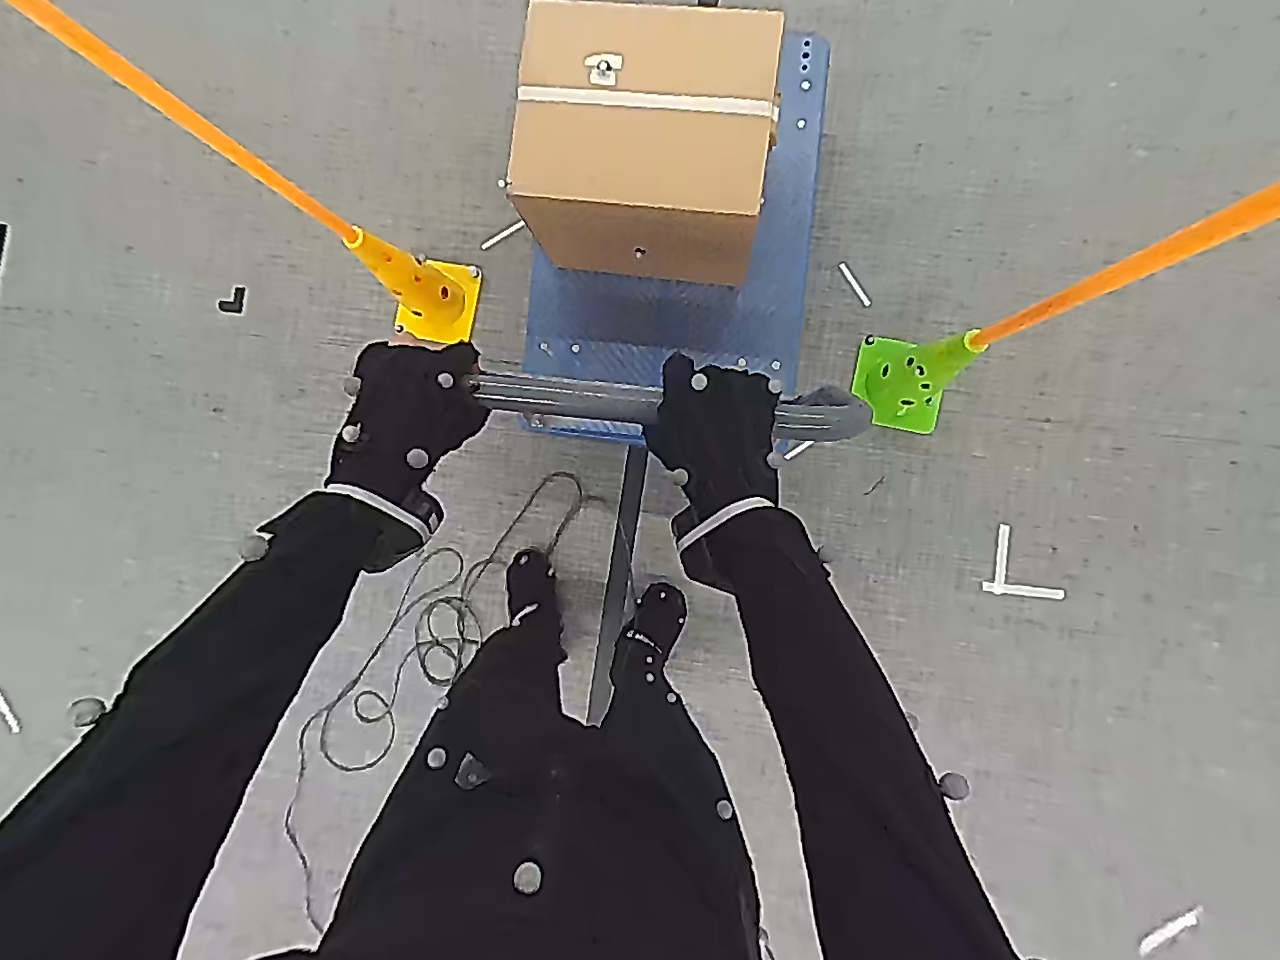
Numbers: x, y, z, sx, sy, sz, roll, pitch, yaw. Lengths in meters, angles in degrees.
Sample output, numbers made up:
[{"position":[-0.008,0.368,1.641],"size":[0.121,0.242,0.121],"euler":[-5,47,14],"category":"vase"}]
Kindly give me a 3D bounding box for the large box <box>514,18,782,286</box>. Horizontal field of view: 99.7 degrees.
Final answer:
[{"position":[0.025,-0.573,1.002],"size":[0.408,0.320,0.320],"euler":[8,91,6],"category":"large box"}]

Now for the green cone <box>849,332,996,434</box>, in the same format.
[{"position":[0.584,-0.222,1.081],"size":[0.202,0.368,0.200],"euler":[12,90,5],"category":"green cone"}]
